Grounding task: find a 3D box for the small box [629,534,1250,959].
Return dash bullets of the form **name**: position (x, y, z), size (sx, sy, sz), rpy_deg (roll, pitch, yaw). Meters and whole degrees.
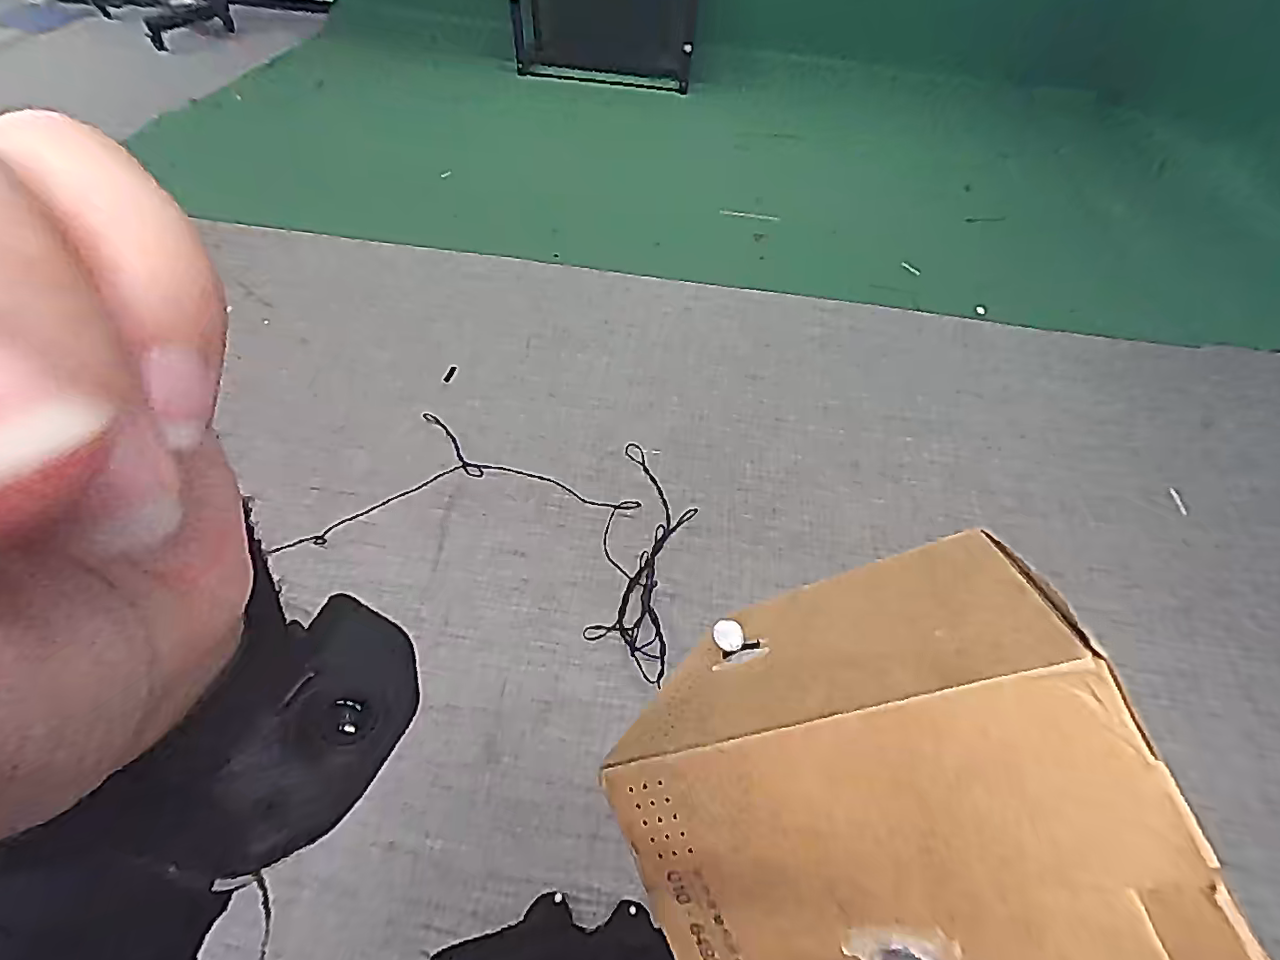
- **small box**: position (0.116, 0.144, 0.239), size (0.176, 0.179, 0.168), rpy_deg (-27, 85, 25)
